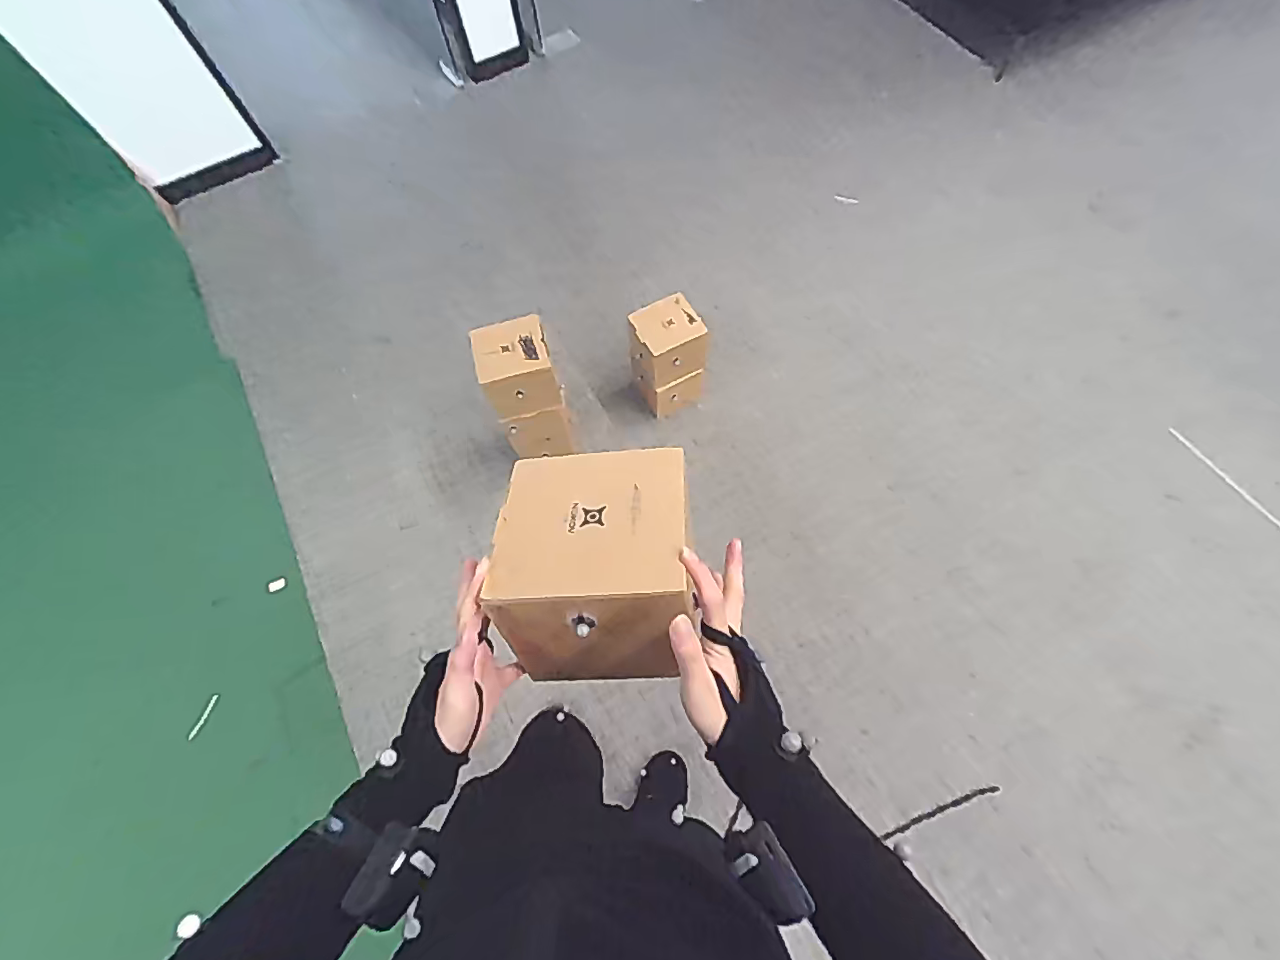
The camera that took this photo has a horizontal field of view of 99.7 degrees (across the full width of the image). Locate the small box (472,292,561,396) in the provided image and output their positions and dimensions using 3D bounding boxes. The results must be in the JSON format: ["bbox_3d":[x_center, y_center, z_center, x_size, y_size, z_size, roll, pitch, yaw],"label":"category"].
[{"bbox_3d":[-0.299,-0.330,1.340,0.179,0.176,0.168,-13,68,-2],"label":"small box"}]

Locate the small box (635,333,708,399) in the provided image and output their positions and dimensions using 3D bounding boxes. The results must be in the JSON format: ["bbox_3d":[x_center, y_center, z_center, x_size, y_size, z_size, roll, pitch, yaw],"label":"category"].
[{"bbox_3d":[0.098,-0.378,1.697,0.168,0.176,0.179,-26,69,-8],"label":"small box"}]

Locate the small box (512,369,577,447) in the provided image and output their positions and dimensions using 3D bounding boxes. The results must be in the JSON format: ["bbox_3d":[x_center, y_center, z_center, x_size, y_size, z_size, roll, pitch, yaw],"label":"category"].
[{"bbox_3d":[-0.288,-0.212,1.645,0.168,0.176,0.179,-7,68,-1],"label":"small box"}]

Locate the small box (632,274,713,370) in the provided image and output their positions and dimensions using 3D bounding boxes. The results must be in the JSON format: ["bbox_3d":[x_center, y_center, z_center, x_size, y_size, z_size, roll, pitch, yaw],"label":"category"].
[{"bbox_3d":[0.095,-0.444,1.547,0.179,0.176,0.168,-25,70,-6],"label":"small box"}]
